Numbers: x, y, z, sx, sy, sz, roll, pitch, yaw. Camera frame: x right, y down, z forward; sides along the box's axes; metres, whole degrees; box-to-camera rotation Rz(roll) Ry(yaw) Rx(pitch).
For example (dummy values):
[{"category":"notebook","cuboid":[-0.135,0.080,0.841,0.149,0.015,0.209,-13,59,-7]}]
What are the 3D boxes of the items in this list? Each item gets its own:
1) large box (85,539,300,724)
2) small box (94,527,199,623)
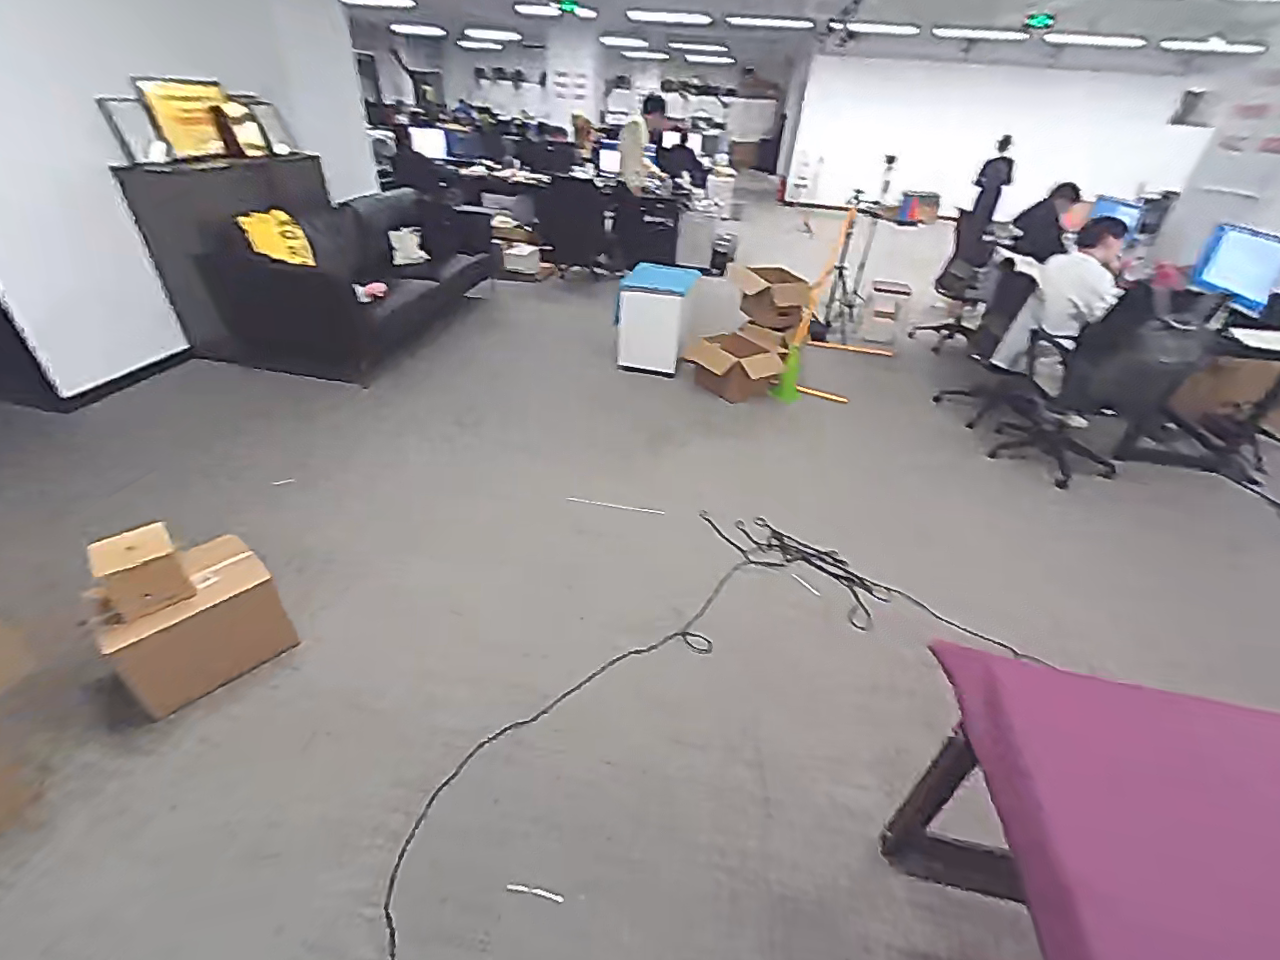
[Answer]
[{"category":"large box","cuboid":[-1.372,0.456,1.689,0.320,0.320,0.408,29,40,31]},{"category":"small box","cuboid":[-1.393,0.268,1.530,0.168,0.176,0.179,-26,44,-37]}]
